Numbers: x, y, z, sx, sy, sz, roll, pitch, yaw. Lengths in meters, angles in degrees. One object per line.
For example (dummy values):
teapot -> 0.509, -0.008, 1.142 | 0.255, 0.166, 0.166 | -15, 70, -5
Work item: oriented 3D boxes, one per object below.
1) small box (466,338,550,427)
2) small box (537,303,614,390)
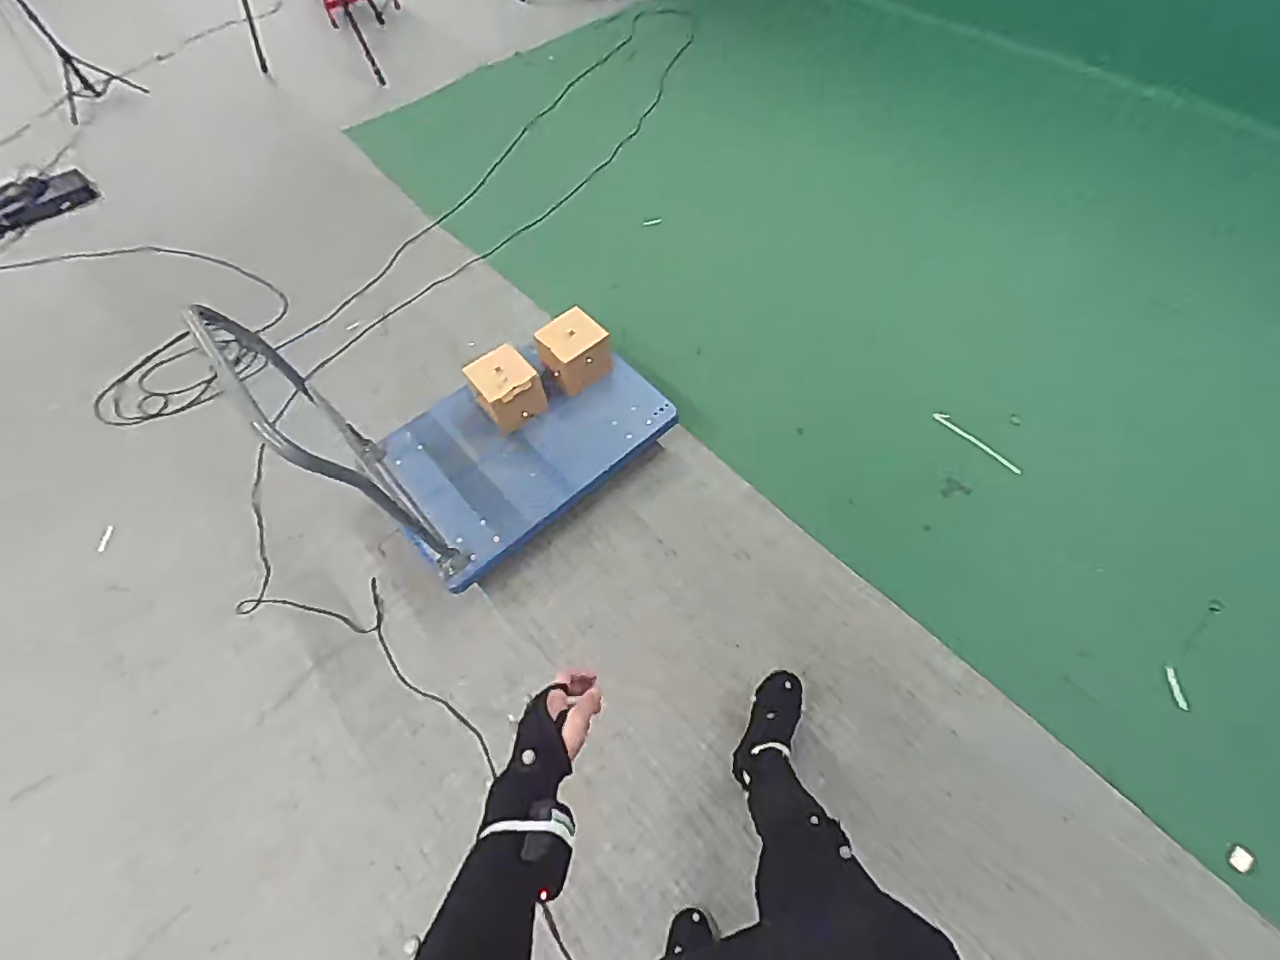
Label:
small box -> -0.402, -0.297, 1.666 | 0.168, 0.176, 0.179 | -35, 65, -15
small box -> -0.199, -0.421, 1.726 | 0.179, 0.176, 0.168 | -37, 66, -16
